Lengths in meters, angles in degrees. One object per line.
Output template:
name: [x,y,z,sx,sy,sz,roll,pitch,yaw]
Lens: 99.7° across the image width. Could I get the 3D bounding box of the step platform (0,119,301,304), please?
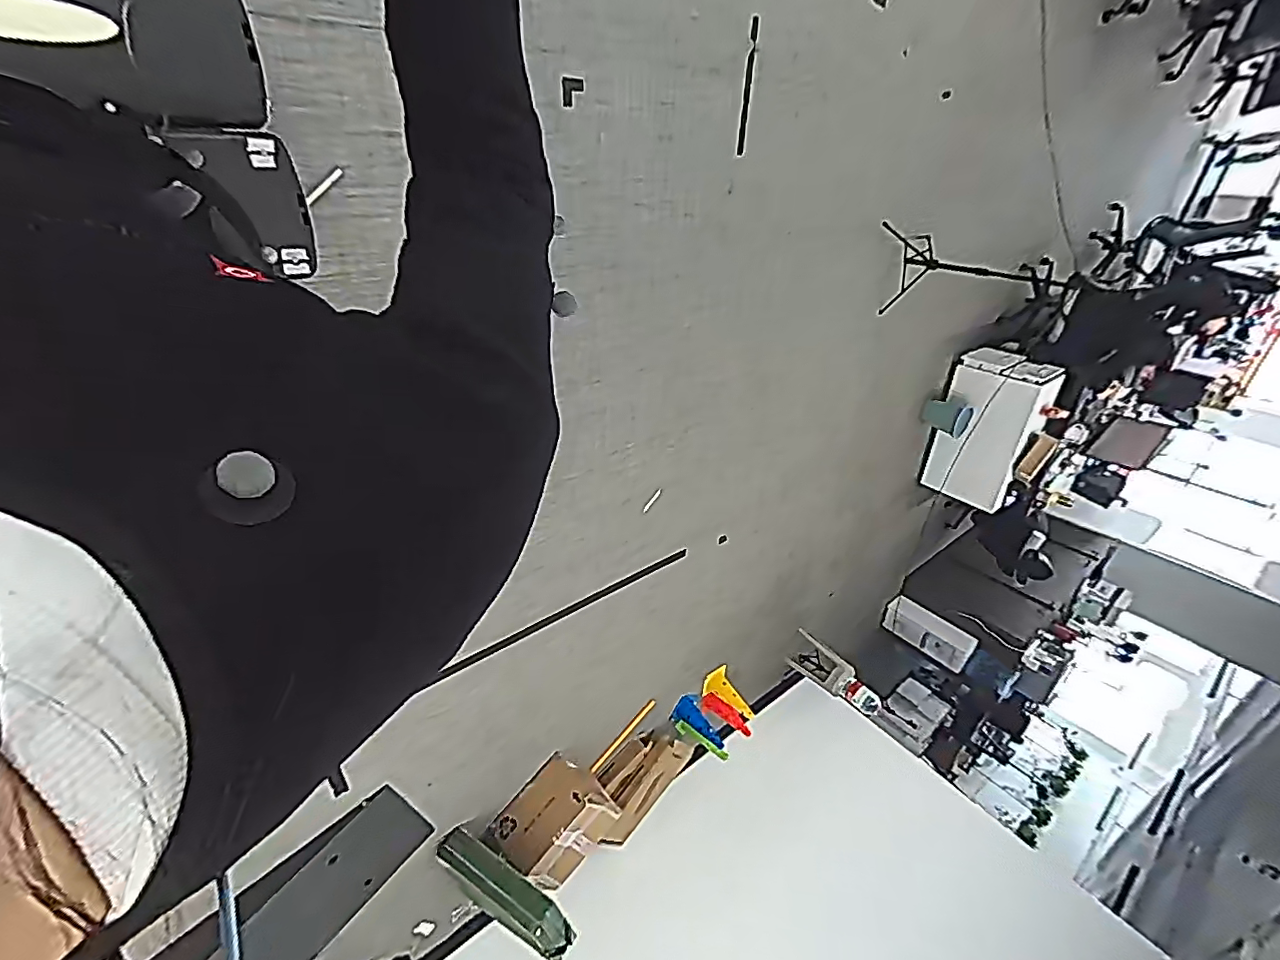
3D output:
step platform: [-1.048,-0.508,1.021,0.684,0.204,0.286,-20,126,-31]
